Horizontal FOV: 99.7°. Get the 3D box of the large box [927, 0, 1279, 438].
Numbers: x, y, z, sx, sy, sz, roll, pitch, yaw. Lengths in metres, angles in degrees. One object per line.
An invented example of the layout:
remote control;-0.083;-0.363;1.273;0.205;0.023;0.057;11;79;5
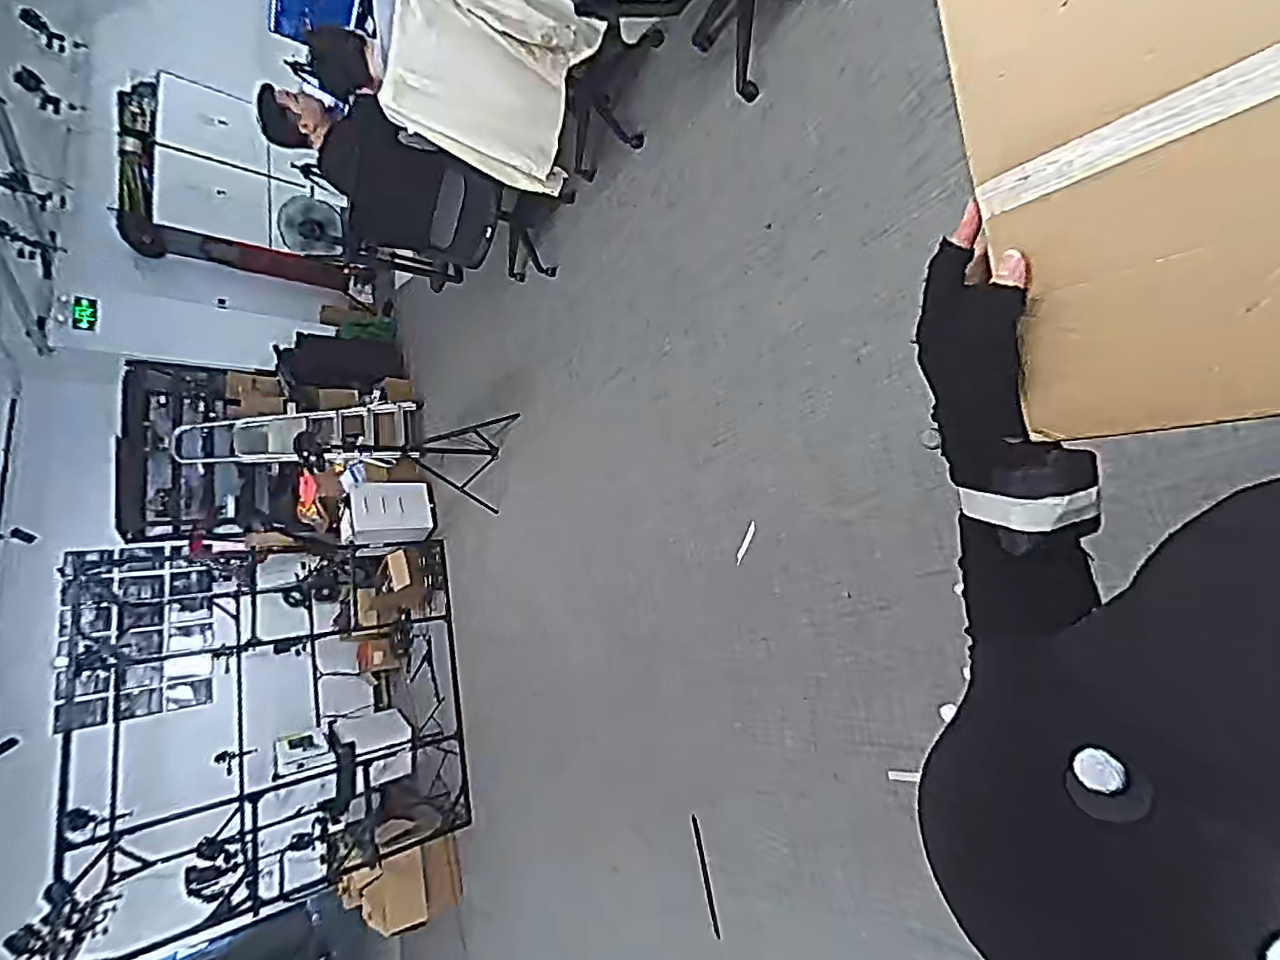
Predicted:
large box;0.450;-0.235;0.282;0.408;0.320;0.320;-9;97;53
